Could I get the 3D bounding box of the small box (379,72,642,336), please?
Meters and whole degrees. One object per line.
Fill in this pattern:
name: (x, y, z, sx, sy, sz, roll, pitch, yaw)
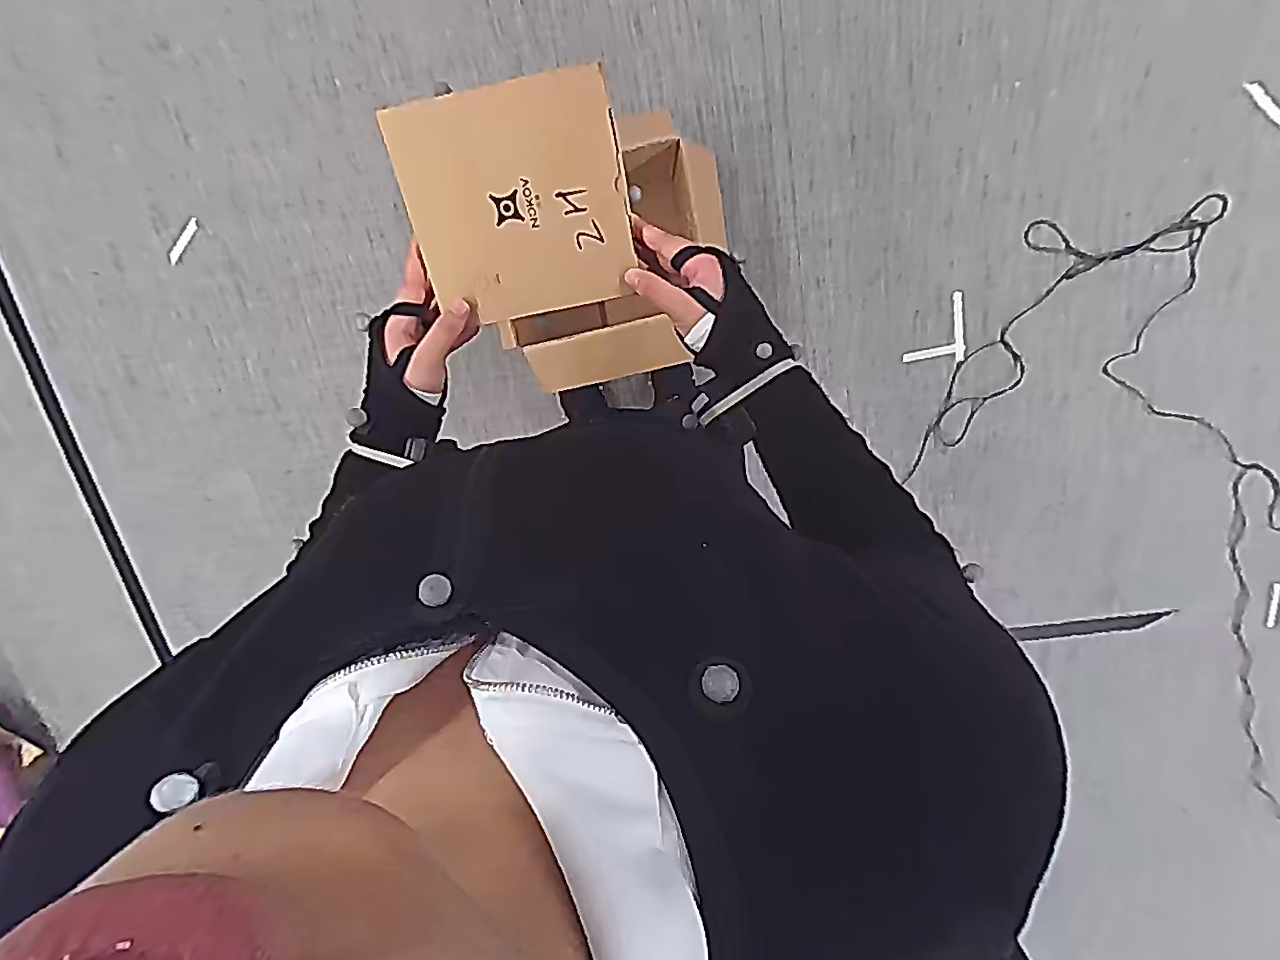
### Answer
small box: (-0.098, -0.239, 0.499, 0.179, 0.176, 0.168, -11, 113, 2)
